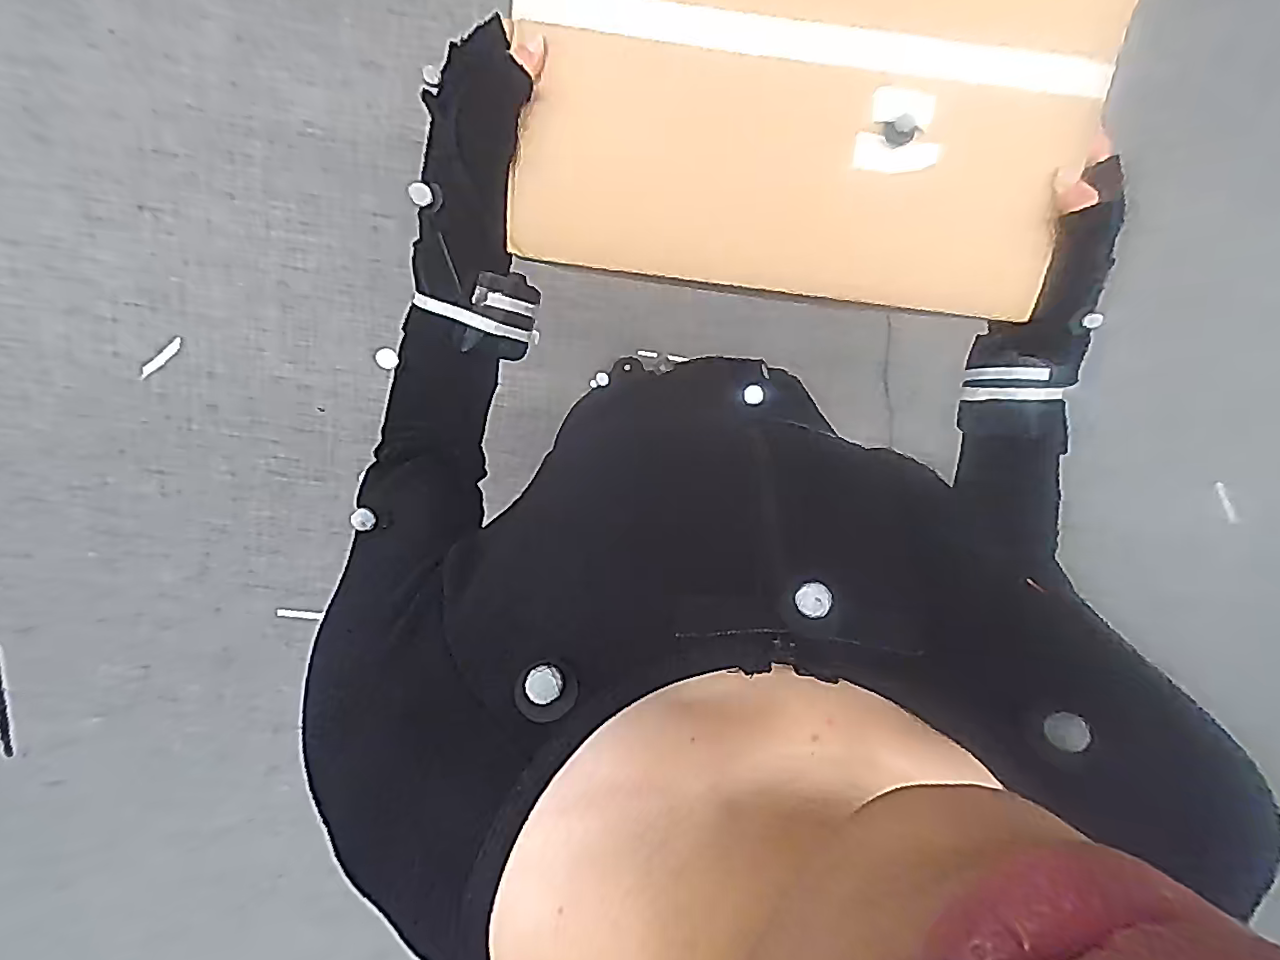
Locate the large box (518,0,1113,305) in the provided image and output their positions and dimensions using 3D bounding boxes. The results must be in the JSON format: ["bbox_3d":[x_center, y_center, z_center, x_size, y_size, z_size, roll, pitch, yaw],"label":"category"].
[{"bbox_3d":[0.115,-0.347,0.516,0.408,0.320,0.320,6,109,-2],"label":"large box"}]
